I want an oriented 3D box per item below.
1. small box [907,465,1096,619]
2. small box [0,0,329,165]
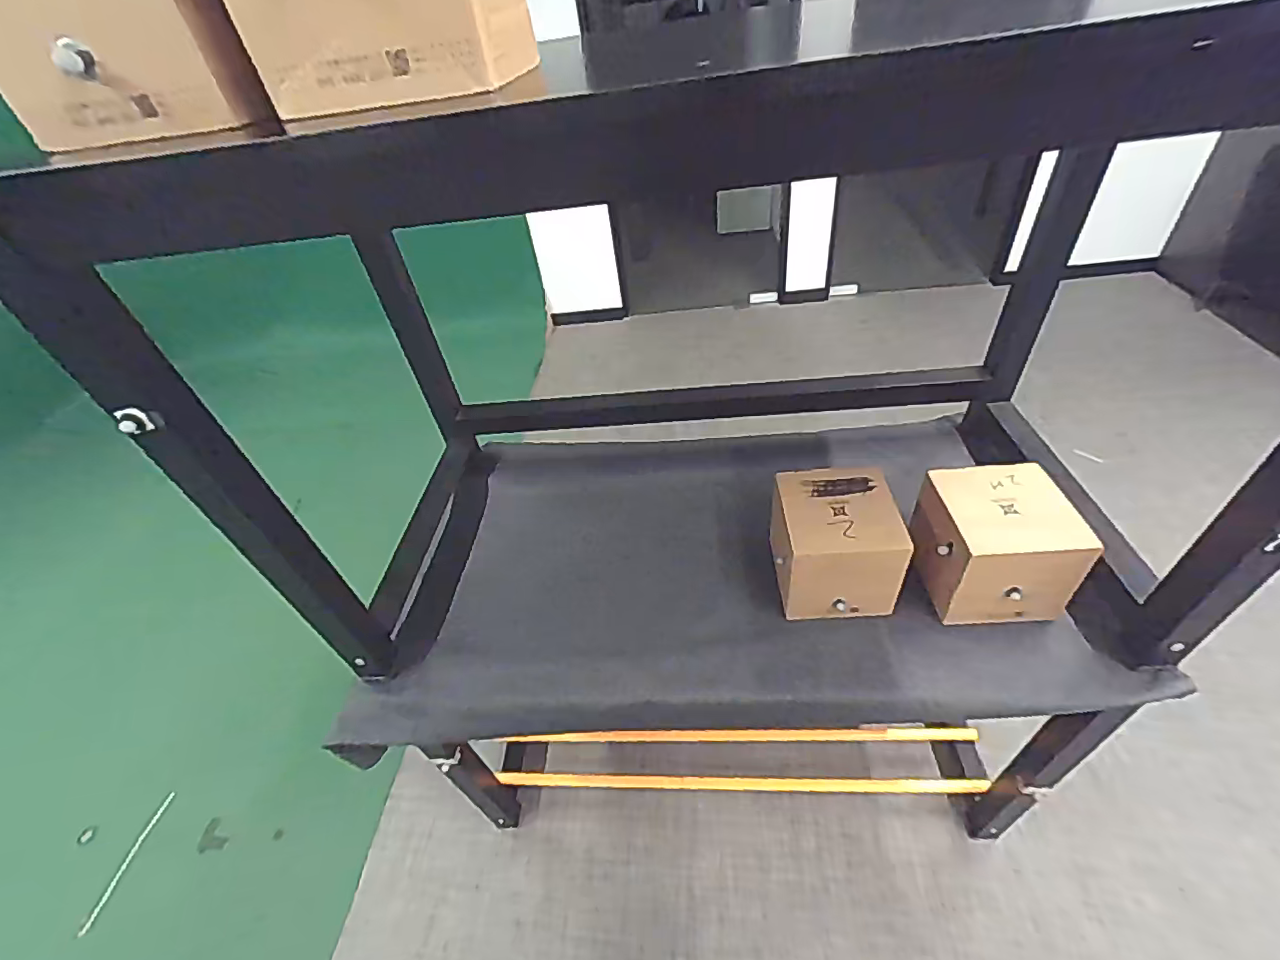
[{"bbox_3d":[0.535,0.101,0.832,0.168,0.176,0.179,-4,41,6],"label":"small box"},{"bbox_3d":[-0.385,-0.365,0.425,0.168,0.176,0.179,-4,43,6],"label":"small box"}]
